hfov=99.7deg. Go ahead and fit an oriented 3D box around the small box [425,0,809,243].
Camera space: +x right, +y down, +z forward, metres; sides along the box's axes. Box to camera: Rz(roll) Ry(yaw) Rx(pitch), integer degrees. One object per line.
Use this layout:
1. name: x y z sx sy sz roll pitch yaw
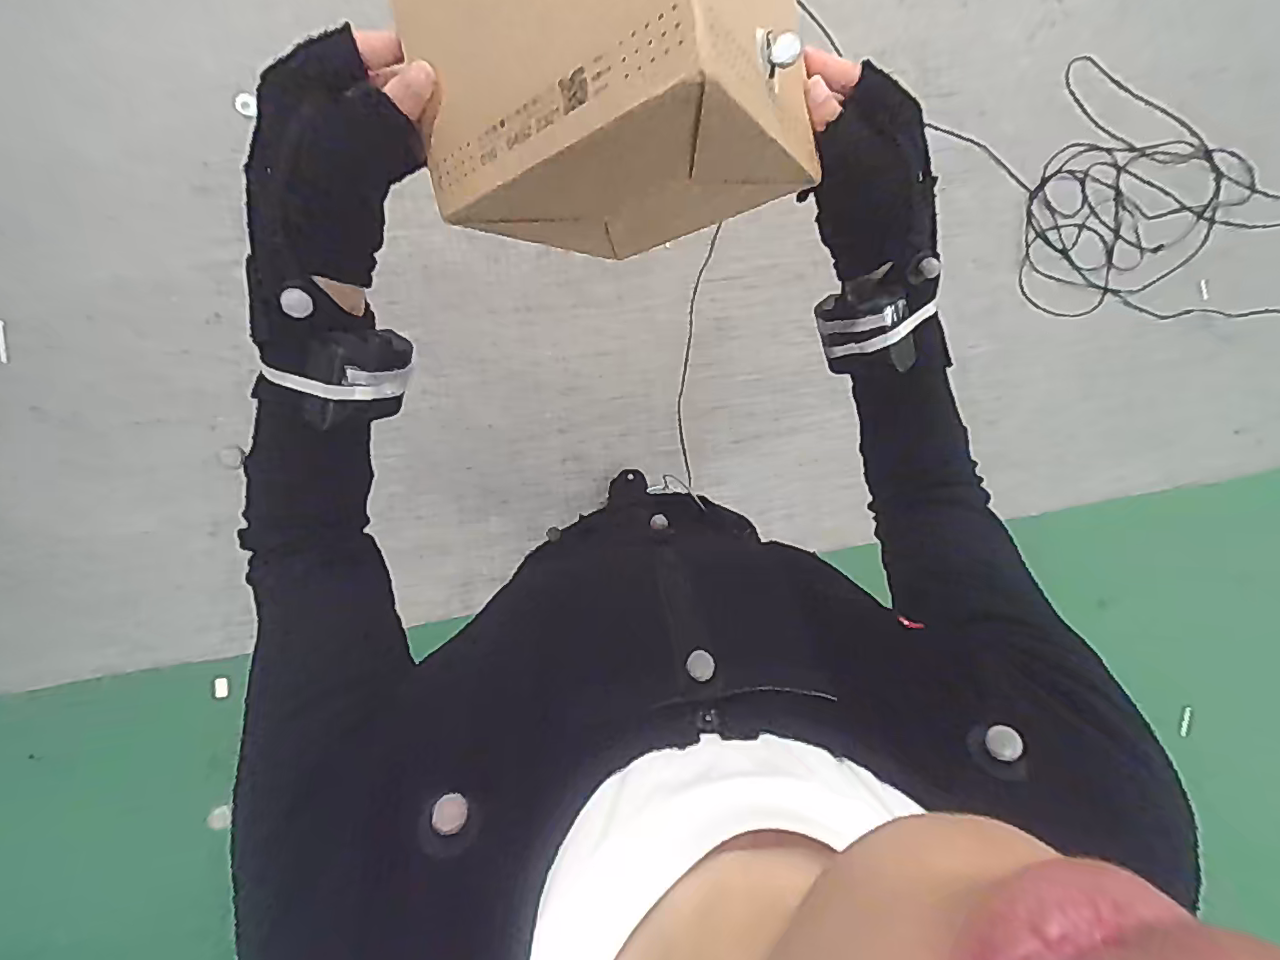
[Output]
1. small box: -0.009 -0.255 0.317 0.168 0.179 0.176 -7 97 33
